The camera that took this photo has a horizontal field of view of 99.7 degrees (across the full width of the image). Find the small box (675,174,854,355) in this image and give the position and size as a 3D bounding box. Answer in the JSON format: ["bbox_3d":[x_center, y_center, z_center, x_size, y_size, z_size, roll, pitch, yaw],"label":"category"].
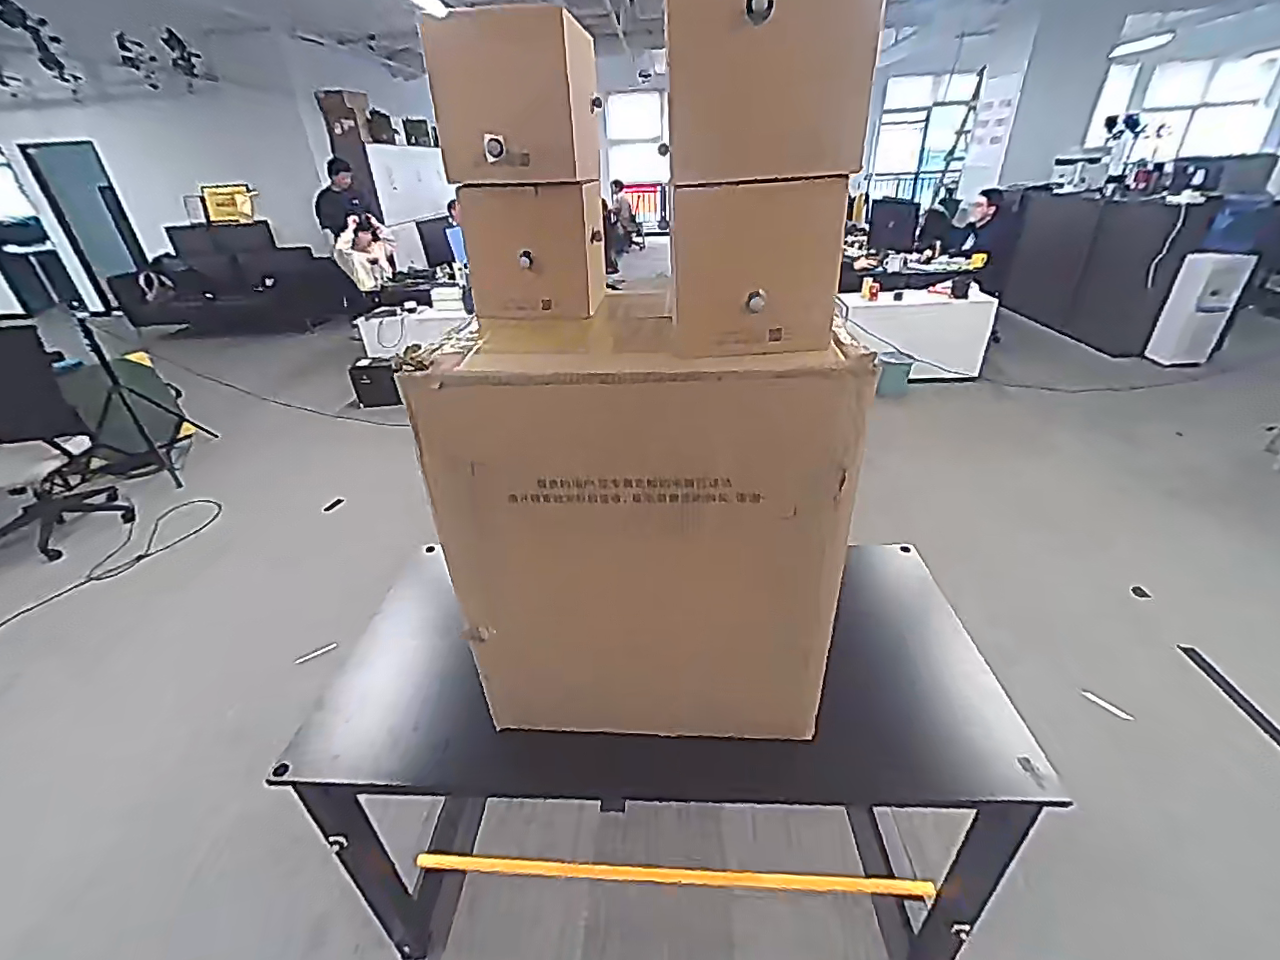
[{"bbox_3d":[0.124,-0.249,0.614,0.168,0.176,0.179,-3,32,3],"label":"small box"}]

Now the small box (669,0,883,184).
[{"bbox_3d":[0.119,-0.383,0.519,0.179,0.176,0.168,-1,32,5],"label":"small box"}]

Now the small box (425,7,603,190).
[{"bbox_3d":[-0.142,-0.466,0.685,0.168,0.176,0.179,1,31,6],"label":"small box"}]

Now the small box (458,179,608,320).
[{"bbox_3d":[-0.139,-0.333,0.781,0.168,0.176,0.179,1,31,4],"label":"small box"}]
